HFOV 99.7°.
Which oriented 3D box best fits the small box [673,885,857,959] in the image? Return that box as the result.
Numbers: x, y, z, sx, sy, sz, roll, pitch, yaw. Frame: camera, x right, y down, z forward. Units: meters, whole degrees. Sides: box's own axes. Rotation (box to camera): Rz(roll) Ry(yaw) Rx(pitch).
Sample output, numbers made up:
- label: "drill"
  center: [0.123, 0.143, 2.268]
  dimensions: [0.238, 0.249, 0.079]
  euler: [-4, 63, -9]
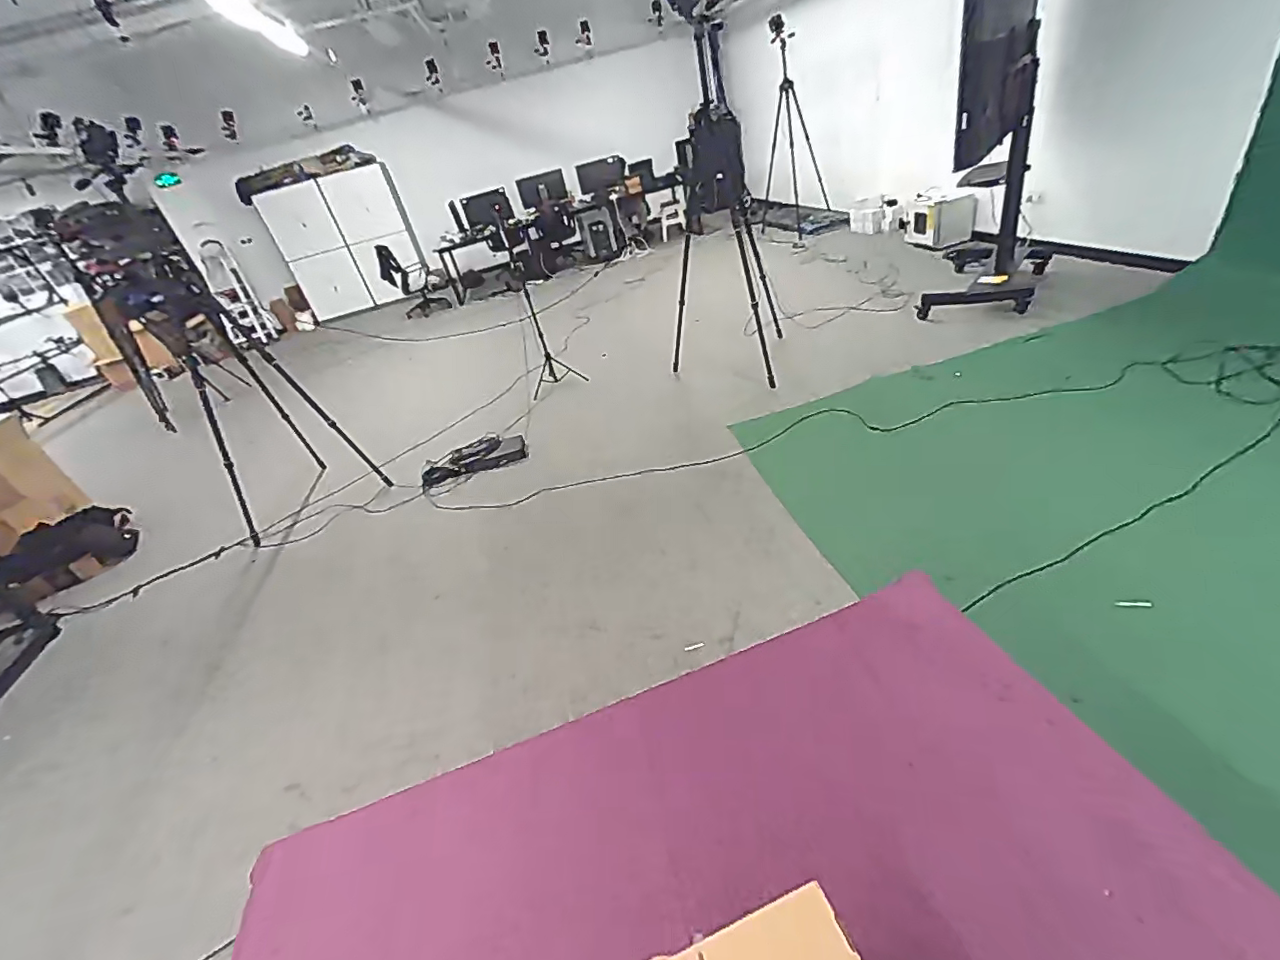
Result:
- label: "small box"
  center: [0.137, 0.531, 0.498]
  dimensions: [0.179, 0.176, 0.168]
  euler: [-20, 36, -10]
